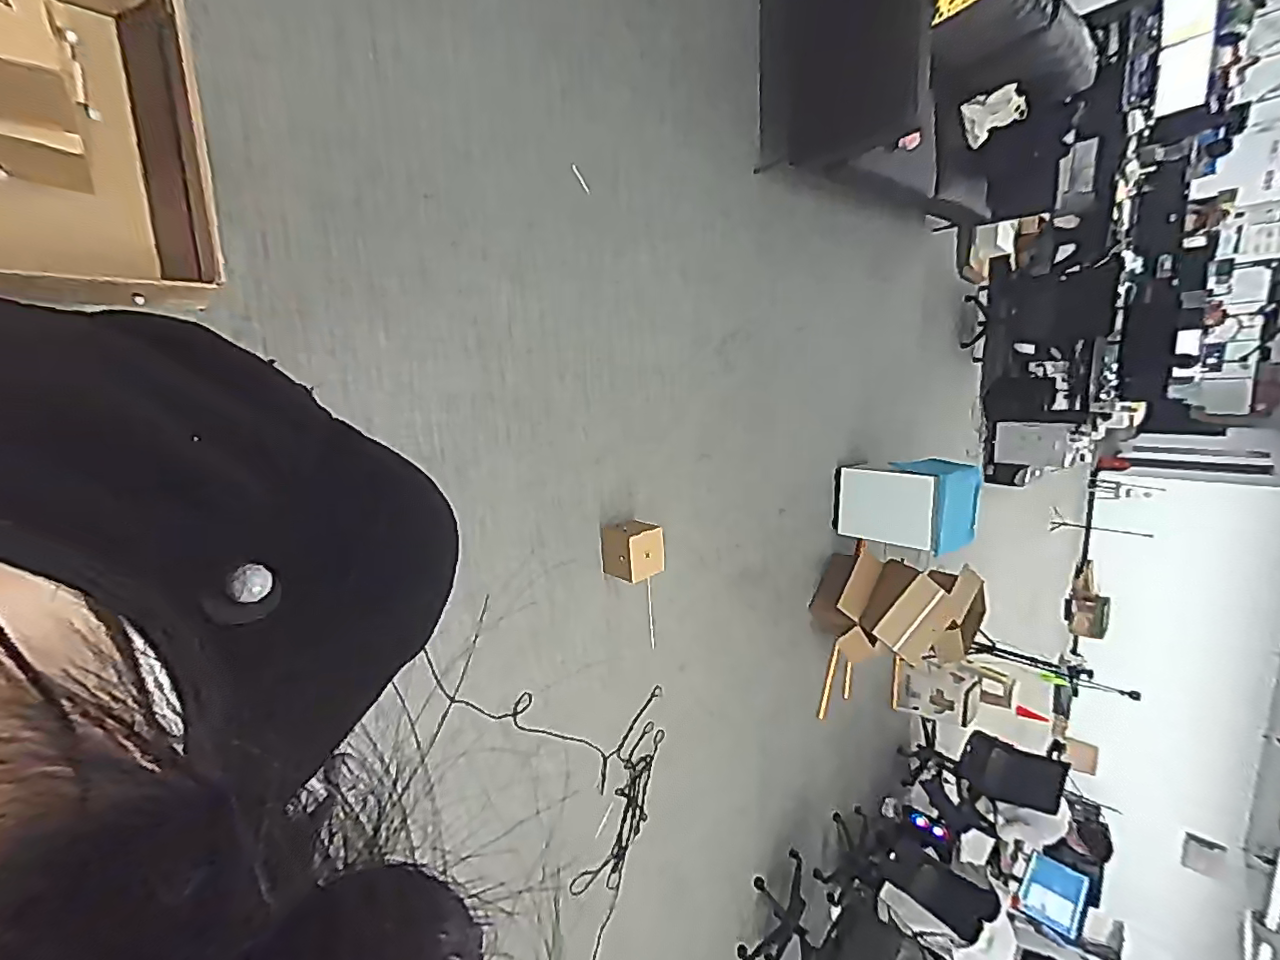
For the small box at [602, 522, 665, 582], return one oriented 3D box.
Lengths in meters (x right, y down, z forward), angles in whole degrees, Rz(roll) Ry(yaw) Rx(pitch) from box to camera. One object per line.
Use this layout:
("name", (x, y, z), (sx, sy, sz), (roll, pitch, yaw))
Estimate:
("small box", (-0.027, 0.261, 2.014), (0.168, 0.176, 0.179), (-13, 105, -41))
